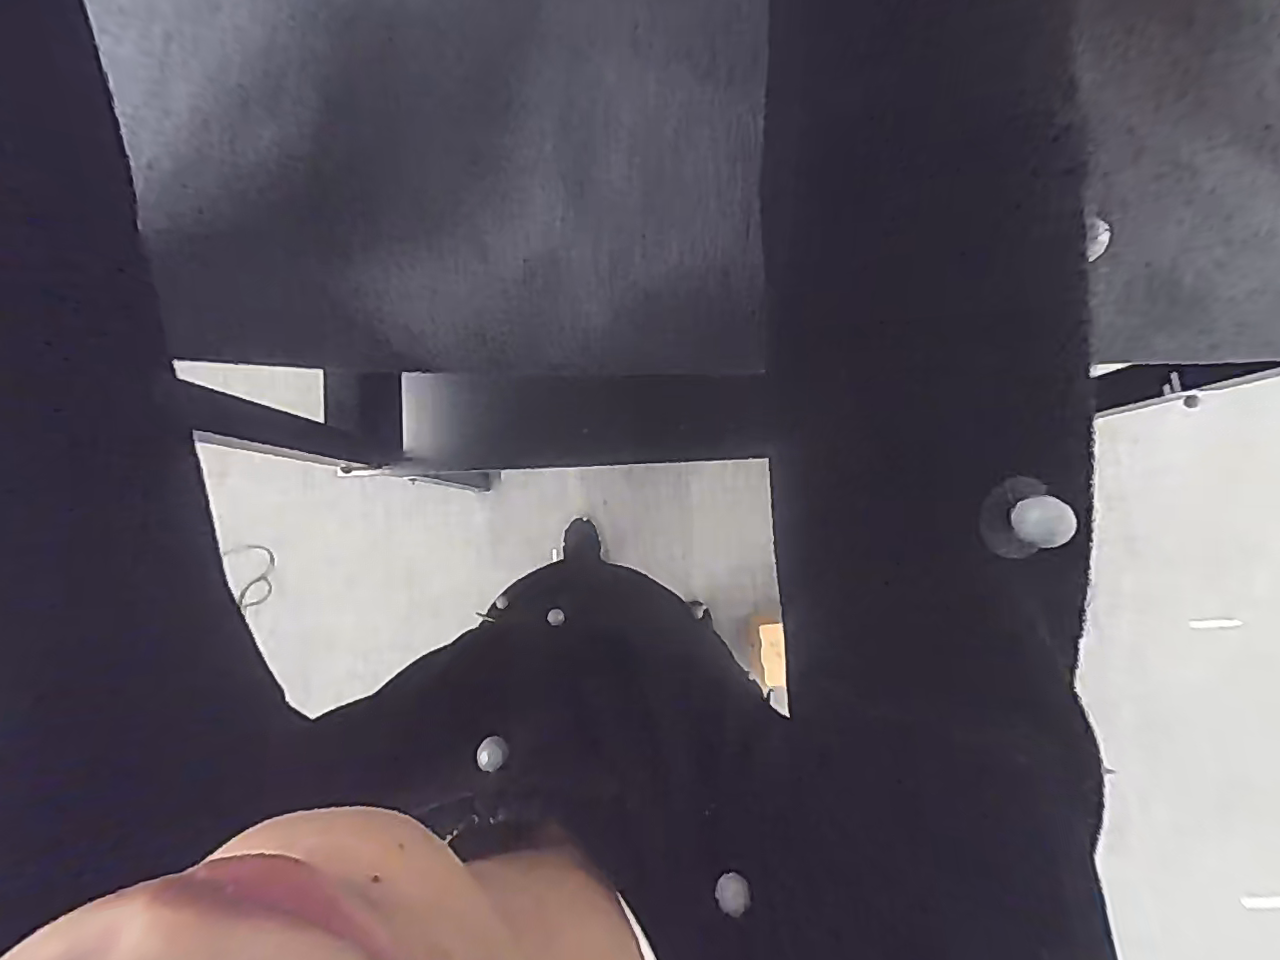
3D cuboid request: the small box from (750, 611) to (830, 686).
[{"bbox_3d":[0.422,0.474,1.543,0.179,0.176,0.168,-5,85,0],"label":"small box"}]
